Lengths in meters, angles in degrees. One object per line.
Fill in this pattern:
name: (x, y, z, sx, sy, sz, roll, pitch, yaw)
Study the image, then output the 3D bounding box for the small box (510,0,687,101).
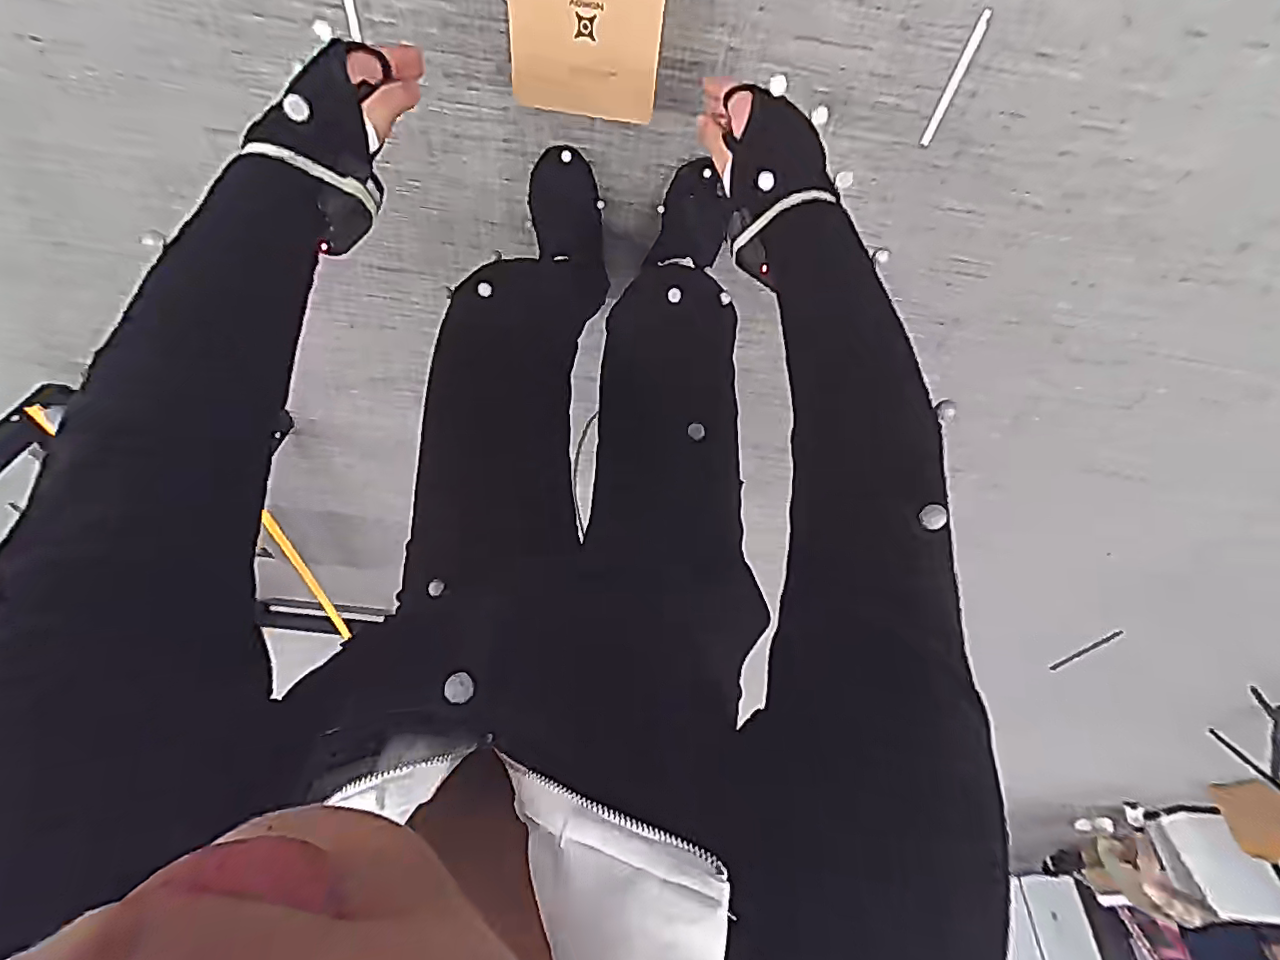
small box: (-0.032, -0.515, 0.535, 0.168, 0.176, 0.179, 7, 142, -2)
